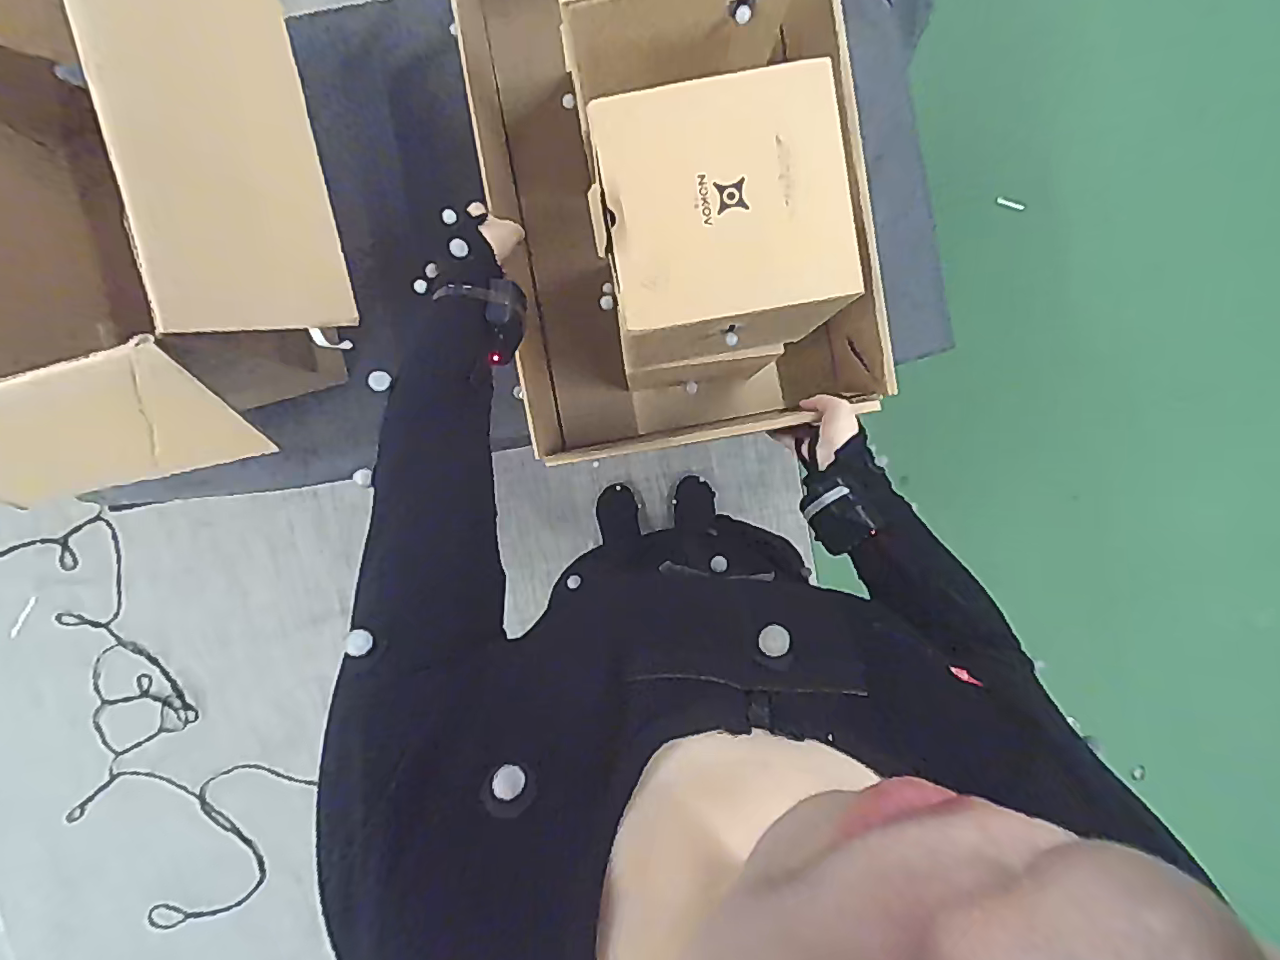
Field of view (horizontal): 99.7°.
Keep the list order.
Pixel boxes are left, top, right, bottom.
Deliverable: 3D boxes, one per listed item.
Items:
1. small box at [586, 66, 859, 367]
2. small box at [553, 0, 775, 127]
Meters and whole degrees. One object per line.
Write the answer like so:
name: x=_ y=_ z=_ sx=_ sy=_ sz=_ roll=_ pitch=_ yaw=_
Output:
small box: x=0.061 y=-0.201 z=0.466 sx=0.179 sy=0.176 sz=0.168 roll=-10 pitch=93 yaw=1
small box: x=0.012 y=-0.429 z=0.454 sx=0.179 sy=0.176 sz=0.168 roll=-11 pitch=95 yaw=0
